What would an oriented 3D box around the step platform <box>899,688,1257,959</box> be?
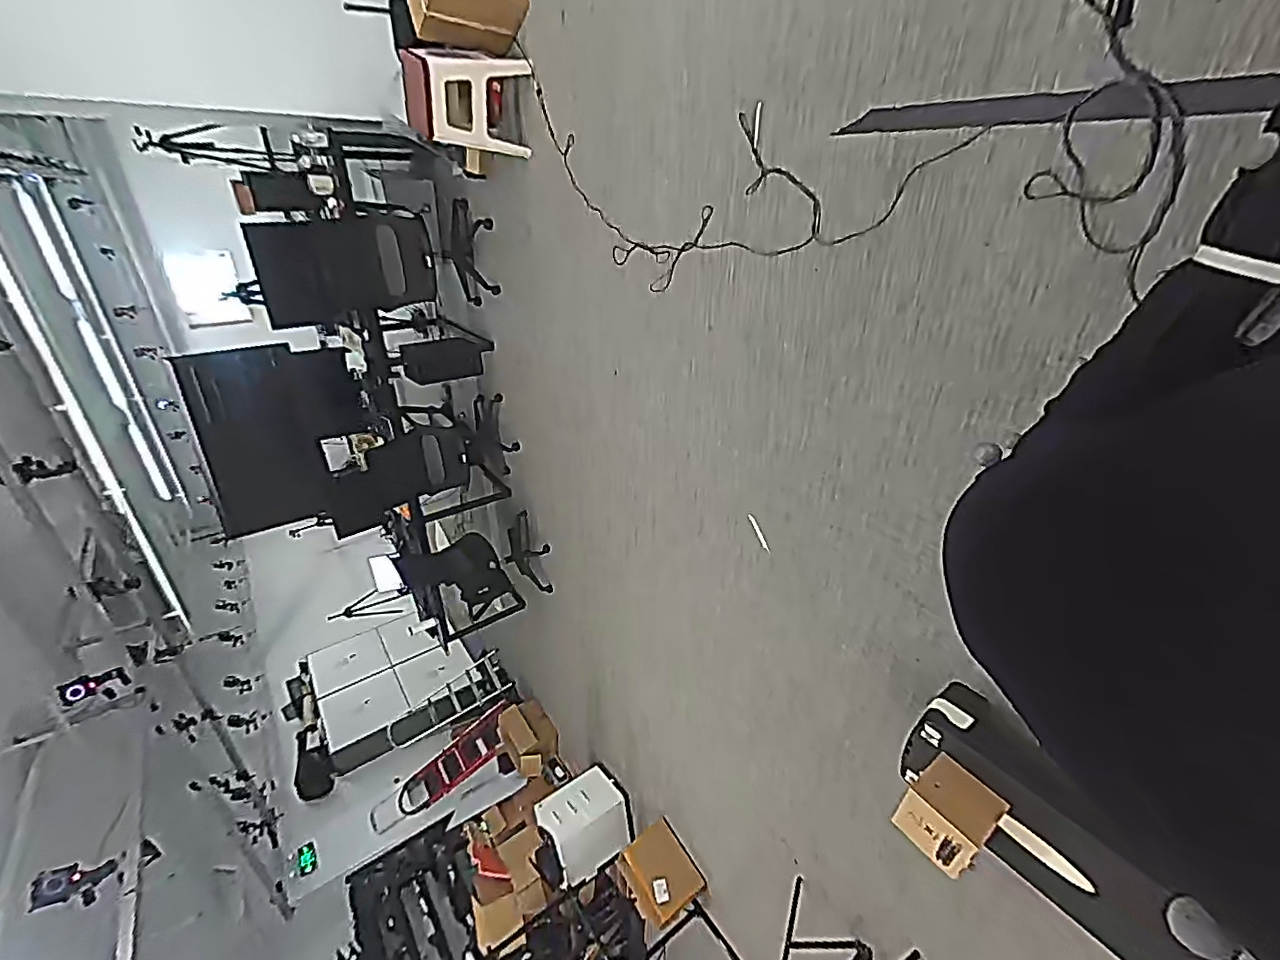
[{"bbox_3d":[1.025,0.870,1.369,0.684,0.204,0.286,32,133,44],"label":"step platform"}]
